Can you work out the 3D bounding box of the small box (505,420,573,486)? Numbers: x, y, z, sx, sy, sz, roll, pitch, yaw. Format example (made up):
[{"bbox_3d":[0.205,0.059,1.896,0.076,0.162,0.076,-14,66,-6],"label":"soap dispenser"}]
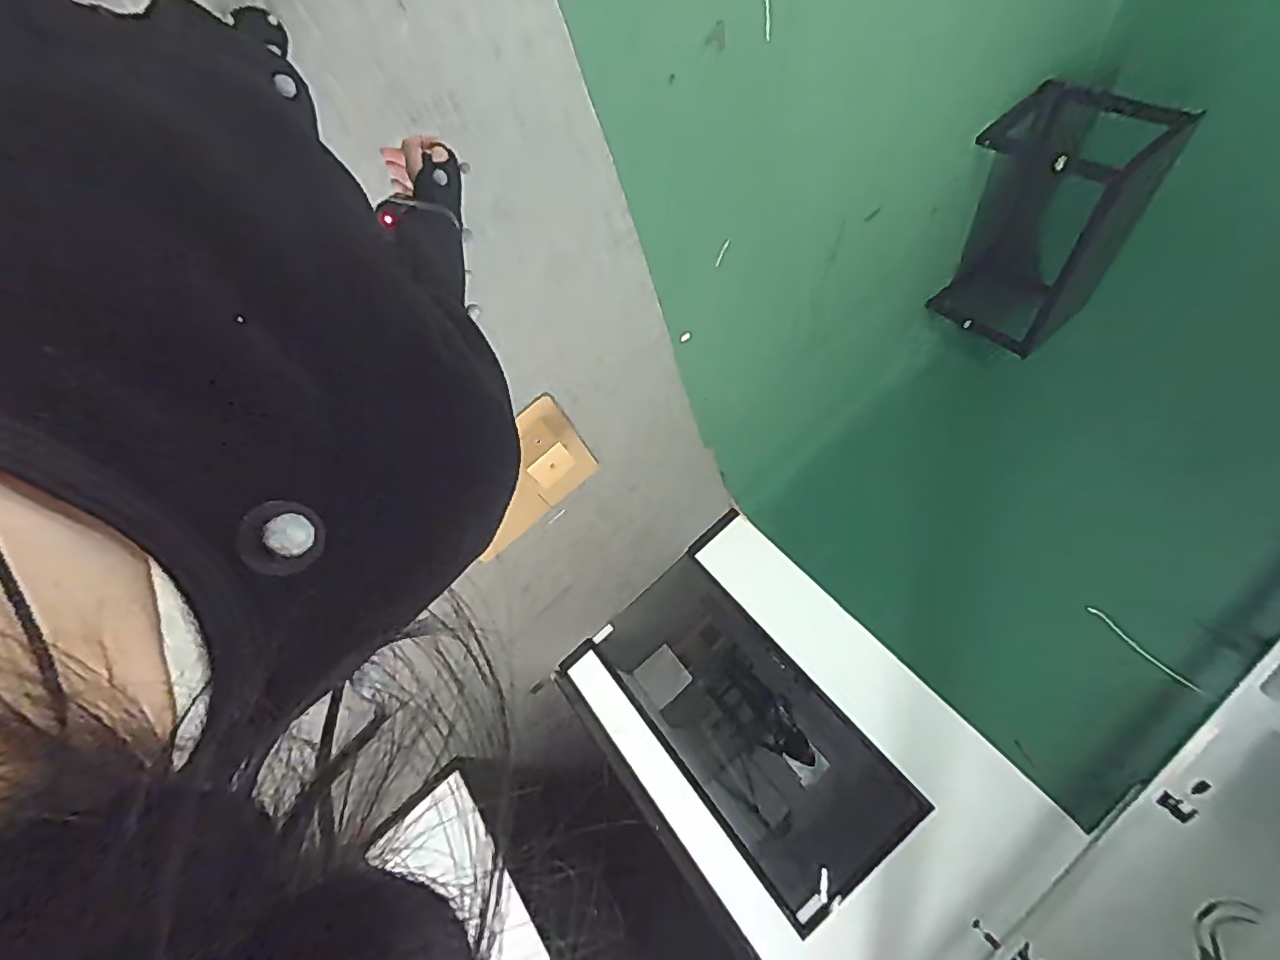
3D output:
[{"bbox_3d":[-0.401,-0.112,2.134,0.168,0.176,0.179,-41,151,-4],"label":"small box"}]
